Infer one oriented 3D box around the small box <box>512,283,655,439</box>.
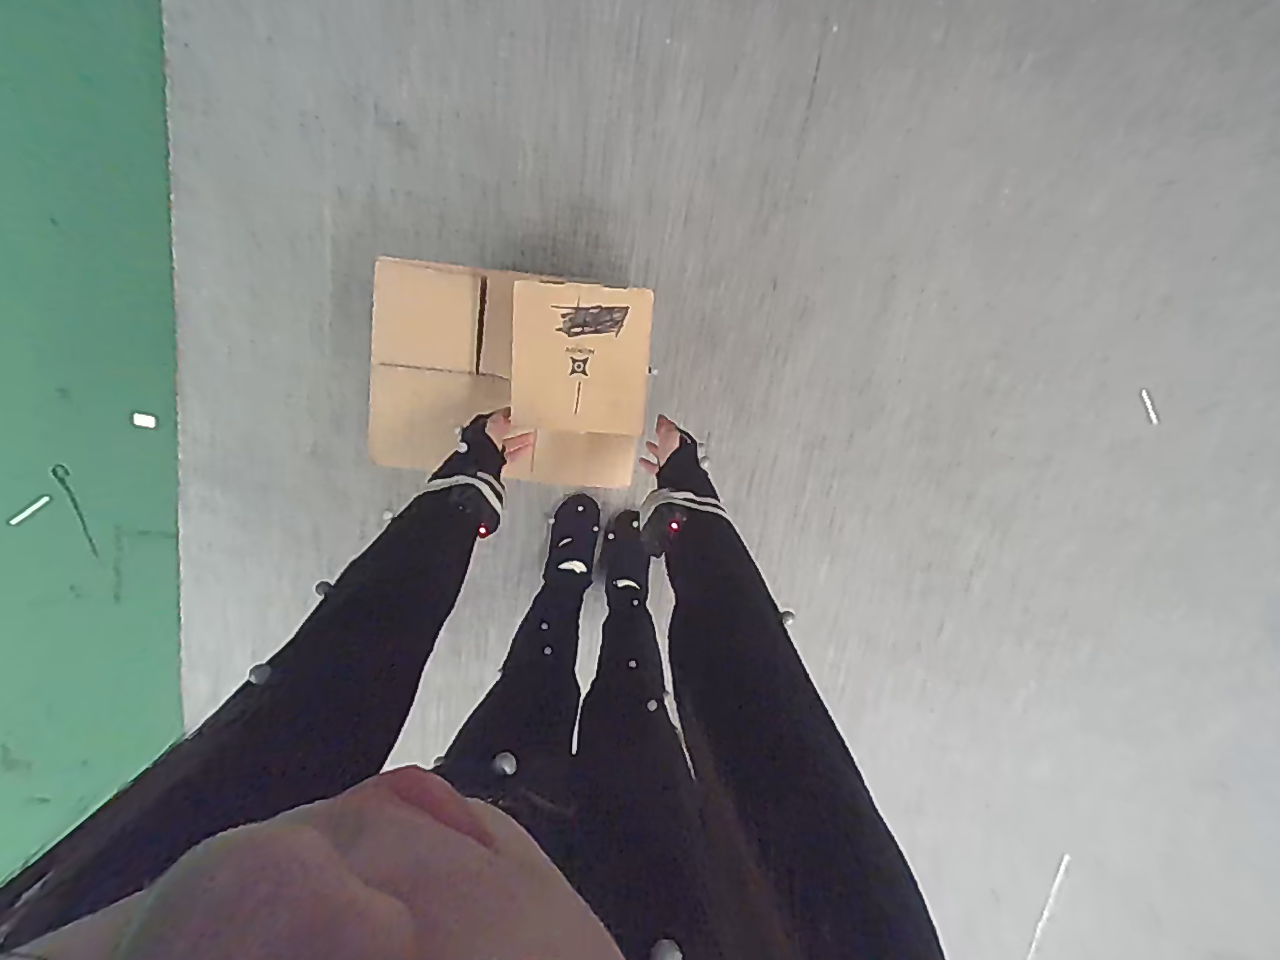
[{"bbox_3d":[-0.071,-0.160,0.738,0.168,0.176,0.179,5,103,0],"label":"small box"}]
